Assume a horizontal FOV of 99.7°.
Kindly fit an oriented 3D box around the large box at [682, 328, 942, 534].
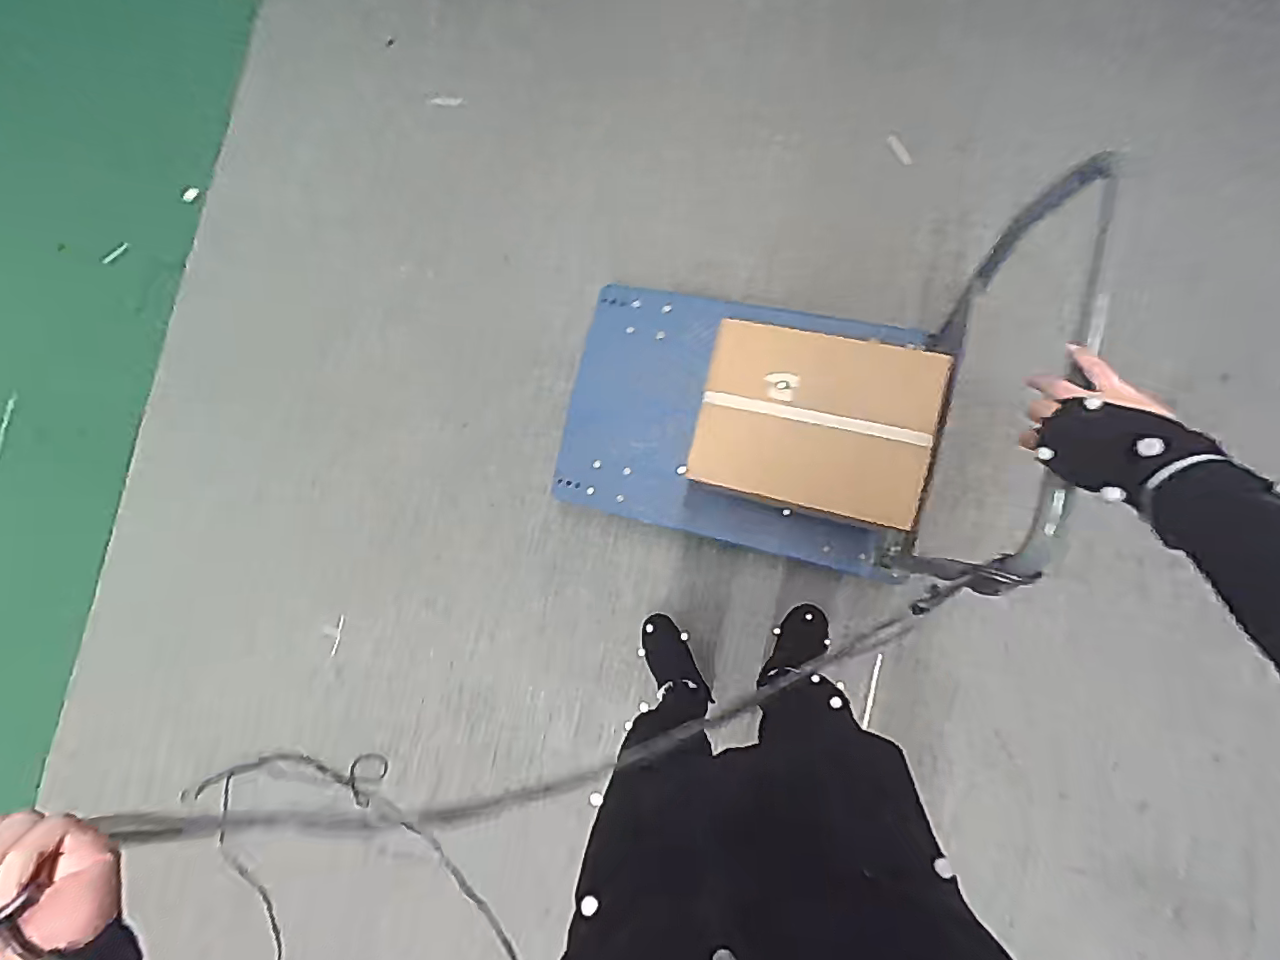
[{"bbox_3d":[0.337,-0.087,1.120,0.408,0.320,0.320,15,88,14],"label":"large box"}]
